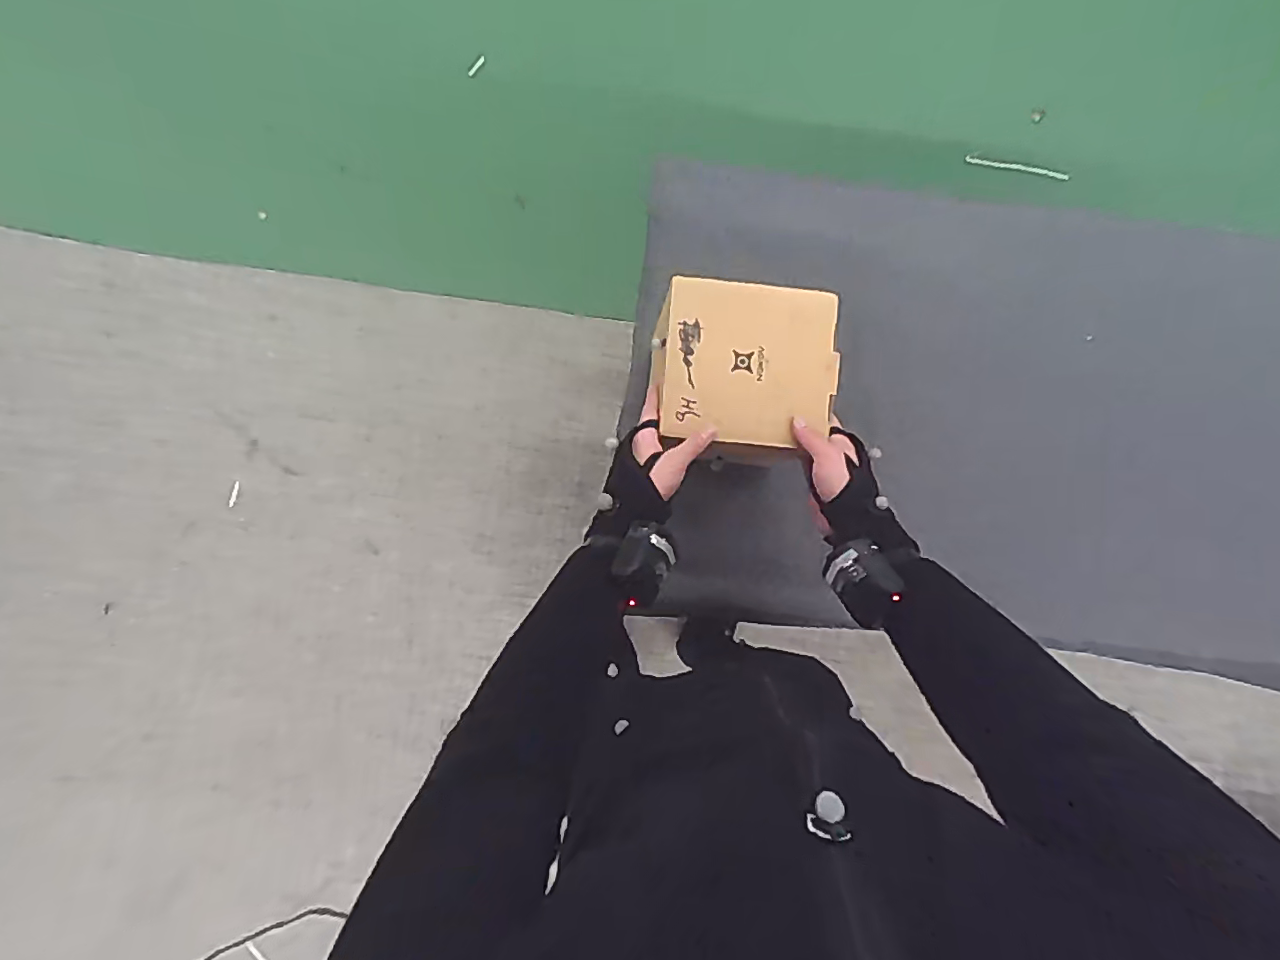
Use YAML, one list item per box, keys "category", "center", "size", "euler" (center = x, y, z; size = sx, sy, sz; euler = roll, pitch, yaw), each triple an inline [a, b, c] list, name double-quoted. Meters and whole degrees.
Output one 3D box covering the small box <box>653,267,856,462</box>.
- category: "small box"
  center: [0.119, -0.116, 0.619]
  size: [0.179, 0.176, 0.168]
  euler: [7, 85, -5]
